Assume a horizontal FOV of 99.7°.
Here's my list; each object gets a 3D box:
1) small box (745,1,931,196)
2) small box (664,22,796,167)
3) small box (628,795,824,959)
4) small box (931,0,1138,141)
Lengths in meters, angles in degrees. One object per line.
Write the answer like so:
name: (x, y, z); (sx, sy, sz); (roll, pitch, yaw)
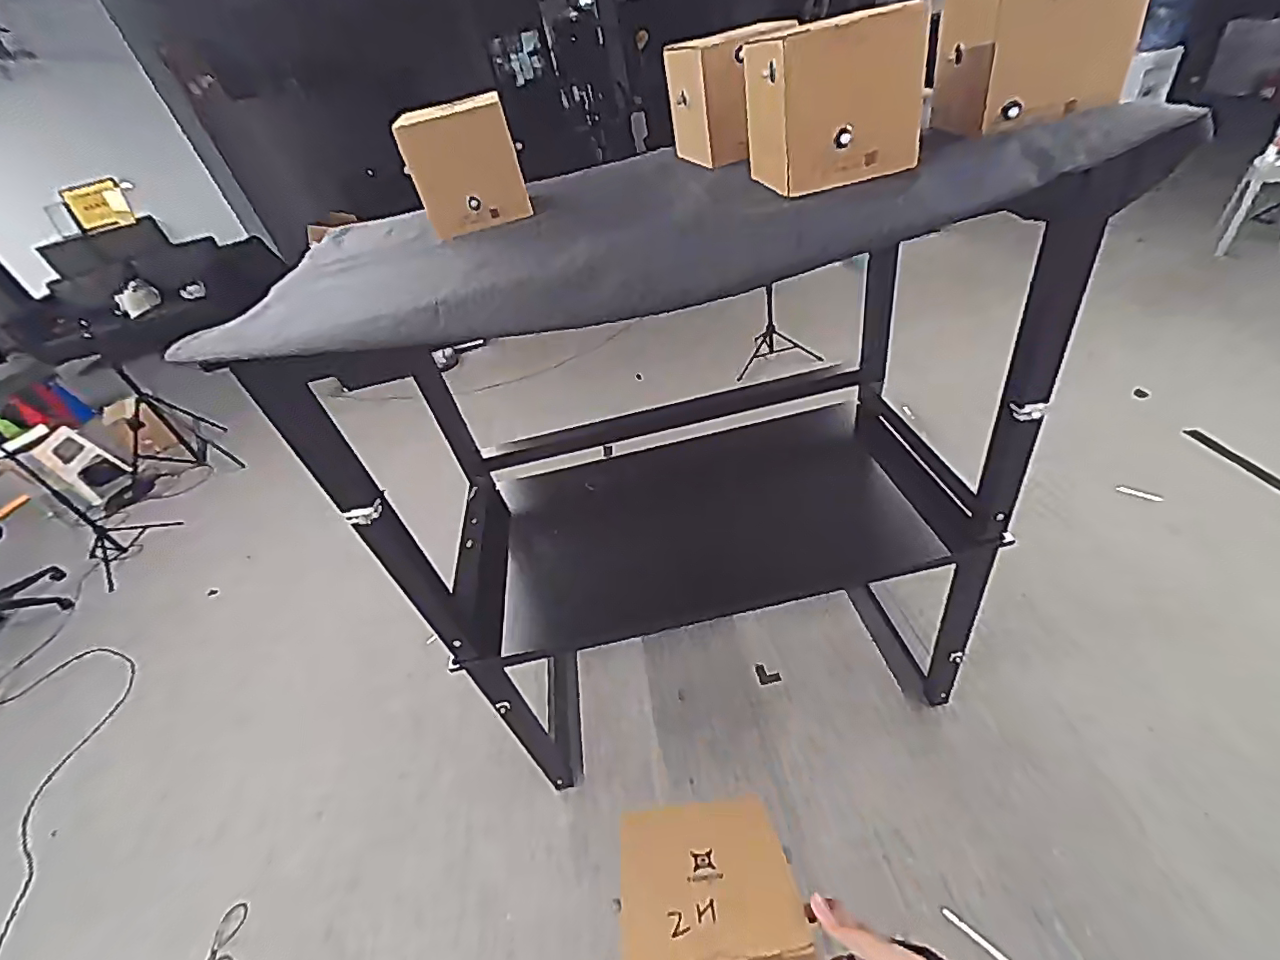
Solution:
small box: (0.241, -0.484, 0.700); (0.168, 0.176, 0.179); (-14, 38, 1)
small box: (0.154, -0.656, 0.930); (0.168, 0.176, 0.179); (-20, 40, -6)
small box: (0.076, 0.461, 0.543); (0.168, 0.176, 0.179); (-6, 12, -2)
small box: (0.506, -0.565, 0.710); (0.168, 0.176, 0.179); (-8, 38, 9)
